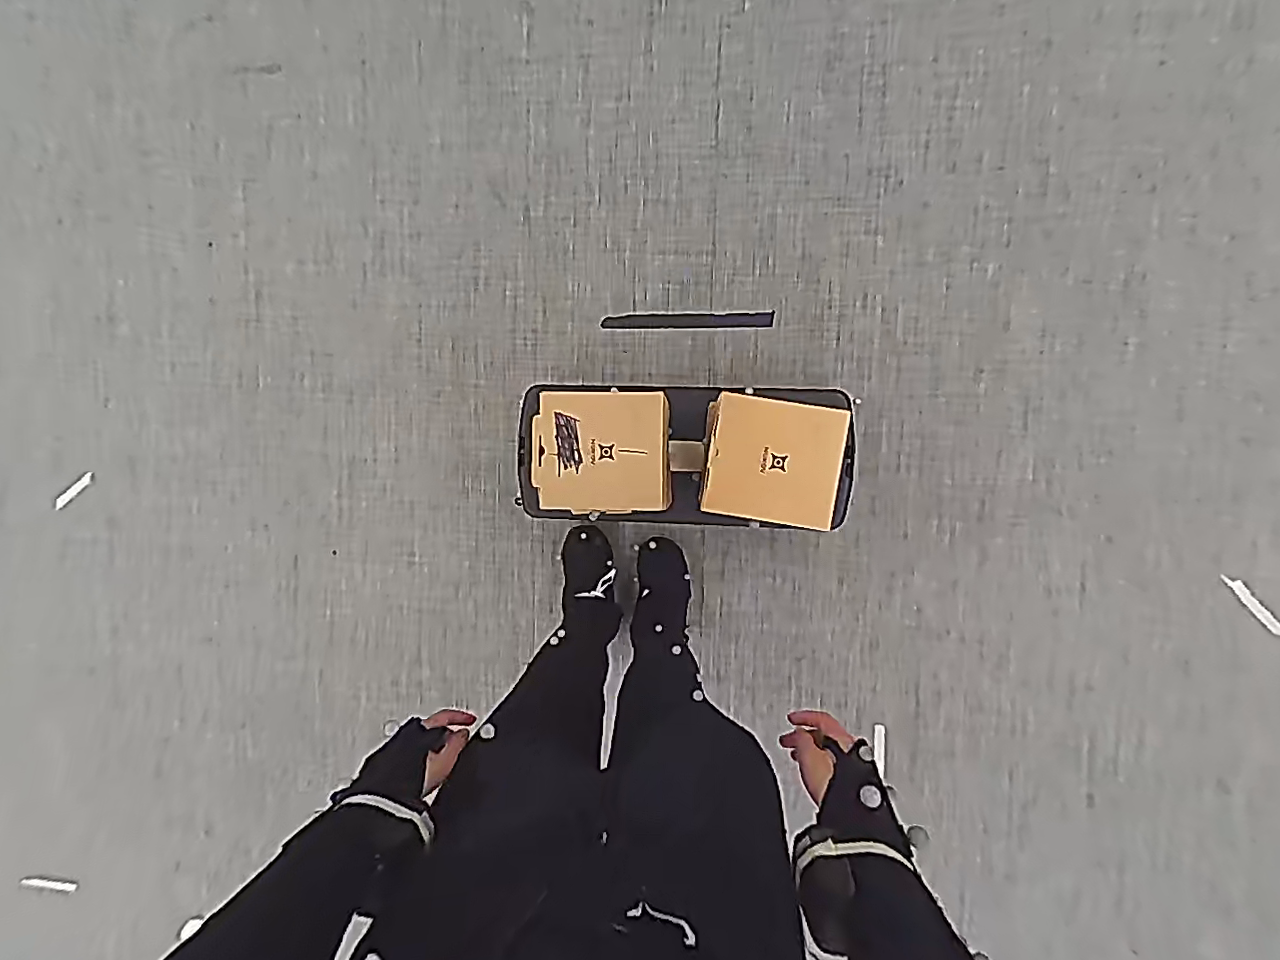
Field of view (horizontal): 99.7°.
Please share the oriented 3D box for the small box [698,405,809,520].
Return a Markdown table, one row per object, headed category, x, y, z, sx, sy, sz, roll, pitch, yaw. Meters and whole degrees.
| category | x | y | z | sx | sy | sz | roll | pitch | yaw |
| --- | --- | --- | --- | --- | --- | --- | --- | --- | --- |
| small box | 0.196 | -0.033 | 0.969 | 0.168 | 0.176 | 0.179 | 6 | 93 | 6 |
